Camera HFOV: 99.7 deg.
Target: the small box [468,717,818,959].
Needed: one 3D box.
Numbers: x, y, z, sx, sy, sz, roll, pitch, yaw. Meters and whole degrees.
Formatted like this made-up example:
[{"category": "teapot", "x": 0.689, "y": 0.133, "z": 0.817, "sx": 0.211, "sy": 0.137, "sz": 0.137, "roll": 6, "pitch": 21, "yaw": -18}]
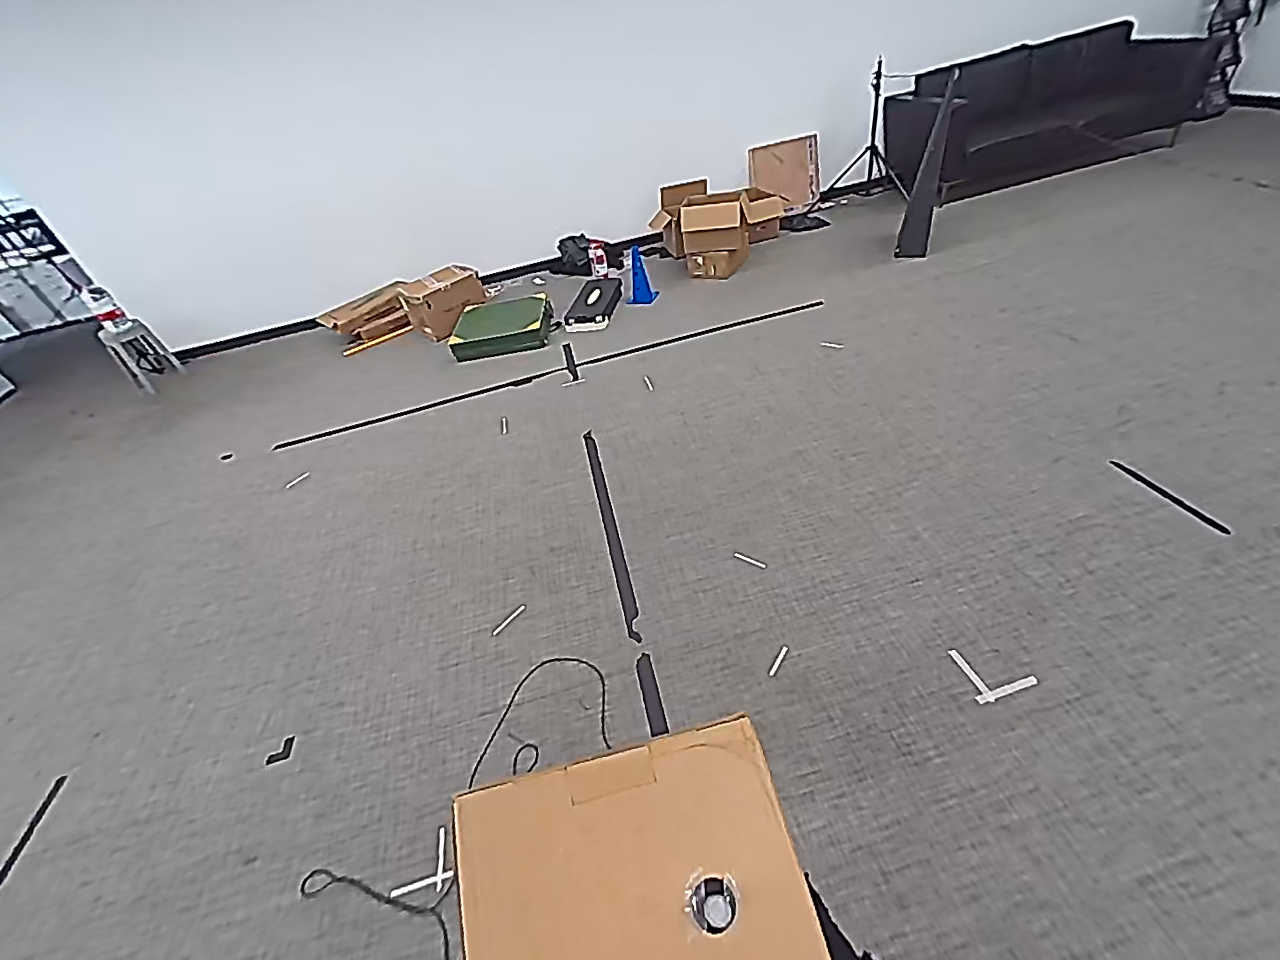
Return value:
[{"category": "small box", "x": 0.003, "y": 0.265, "z": 0.345, "sx": 0.168, "sy": 0.179, "sz": 0.176, "roll": -12, "pitch": 65, "yaw": -7}]
